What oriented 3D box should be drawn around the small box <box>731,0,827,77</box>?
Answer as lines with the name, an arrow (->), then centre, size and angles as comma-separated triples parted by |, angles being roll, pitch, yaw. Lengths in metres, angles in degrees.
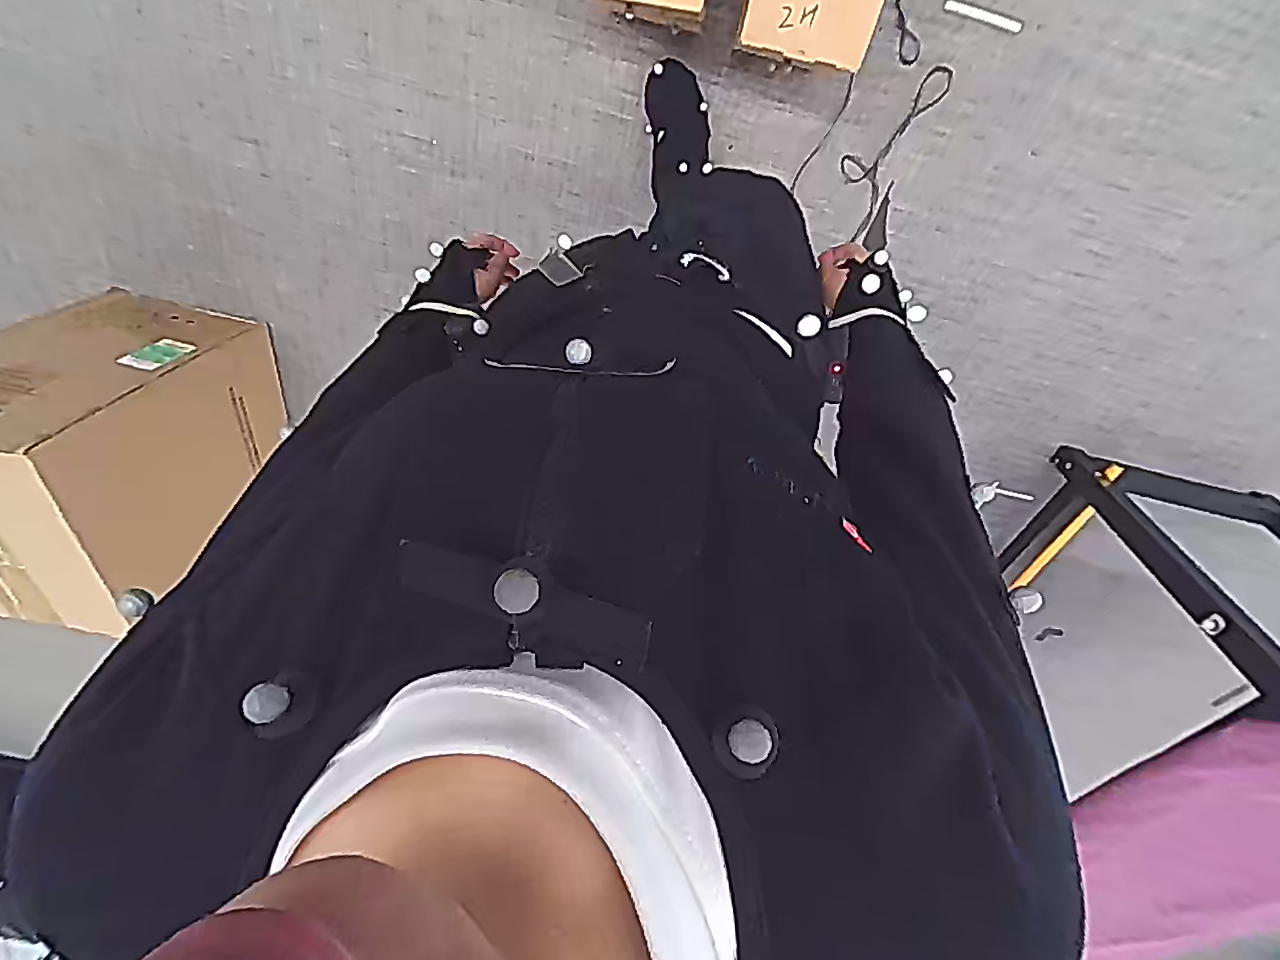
small box -> 0.247, -0.773, 0.864 | 0.168, 0.176, 0.179 | 14, 128, -3

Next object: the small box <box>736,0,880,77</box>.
small box -> 0.231, -0.674, 0.733 | 0.168, 0.176, 0.179 | 13, 128, -2

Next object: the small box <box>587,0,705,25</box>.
small box -> 0.016, -0.735, 0.719 | 0.168, 0.176, 0.179 | 10, 126, 0
